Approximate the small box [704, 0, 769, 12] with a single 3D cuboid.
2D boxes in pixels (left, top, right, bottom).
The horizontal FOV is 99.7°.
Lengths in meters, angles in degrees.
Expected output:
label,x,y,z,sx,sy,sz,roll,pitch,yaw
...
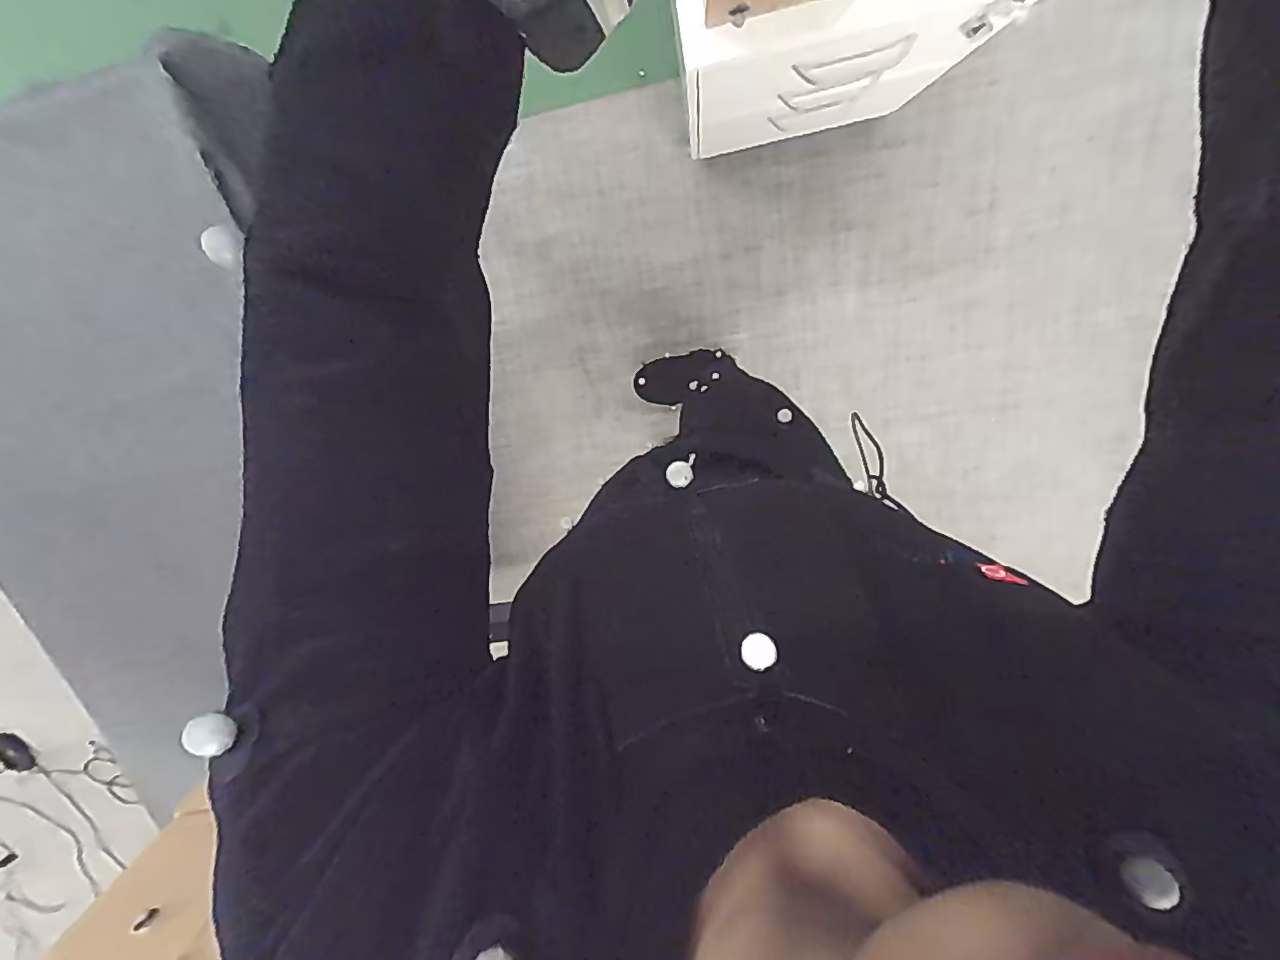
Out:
label,x,y,z,sx,sy,sz,roll,pitch,yaw
small box,0.123,-0.540,0.454,0.168,0.176,0.179,-8,109,8
